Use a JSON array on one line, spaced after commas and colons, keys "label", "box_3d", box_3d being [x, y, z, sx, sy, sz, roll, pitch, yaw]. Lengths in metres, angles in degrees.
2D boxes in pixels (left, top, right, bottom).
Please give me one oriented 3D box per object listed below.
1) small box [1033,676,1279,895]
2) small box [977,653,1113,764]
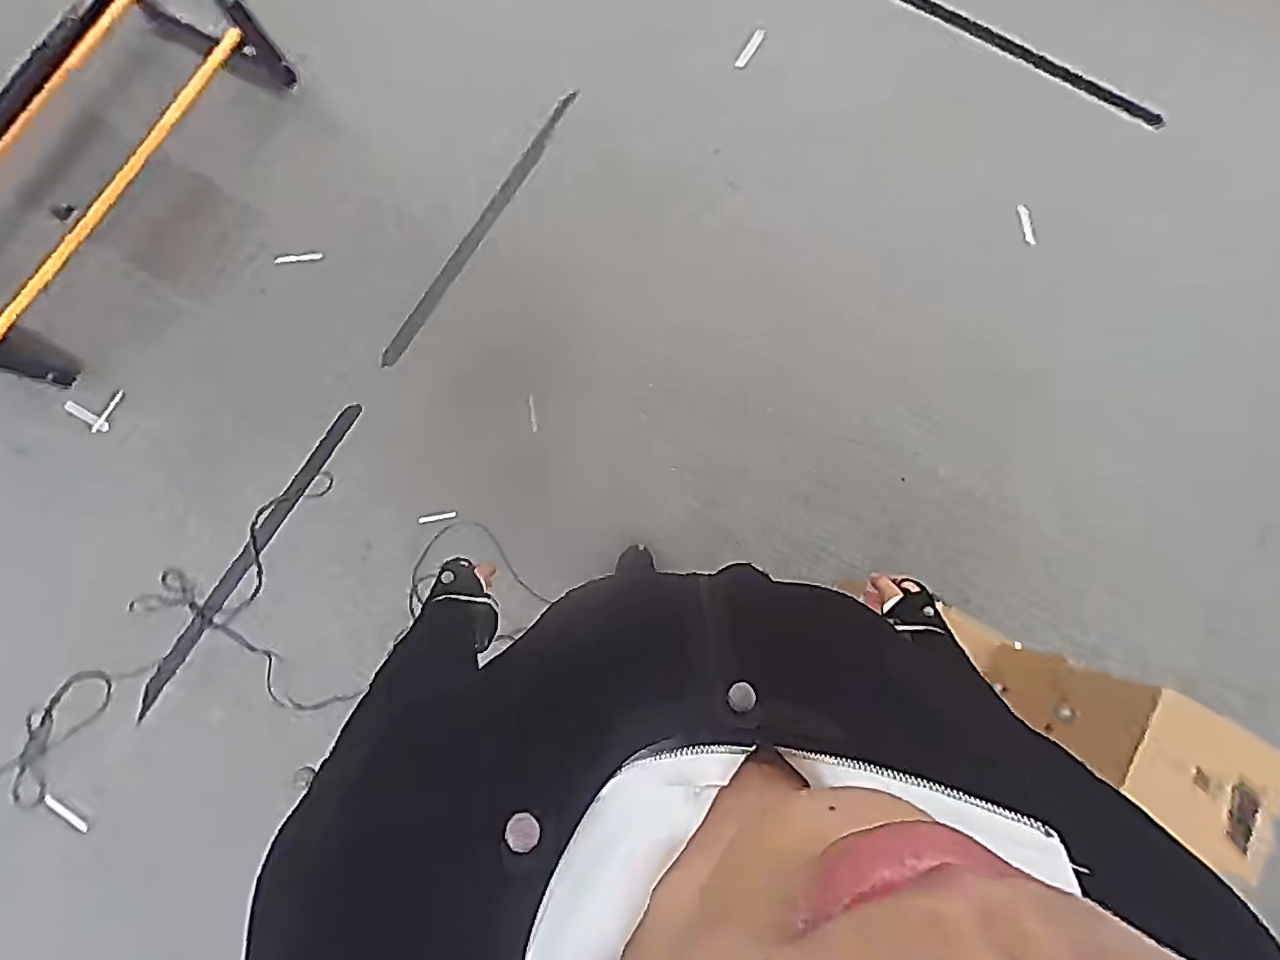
[{"label": "small box", "box_3d": [0.693, 0.388, 0.728, 0.179, 0.176, 0.168, 31, 82, 8]}, {"label": "small box", "box_3d": [0.710, 0.404, 0.892, 0.179, 0.176, 0.168, 27, 82, 7]}]
